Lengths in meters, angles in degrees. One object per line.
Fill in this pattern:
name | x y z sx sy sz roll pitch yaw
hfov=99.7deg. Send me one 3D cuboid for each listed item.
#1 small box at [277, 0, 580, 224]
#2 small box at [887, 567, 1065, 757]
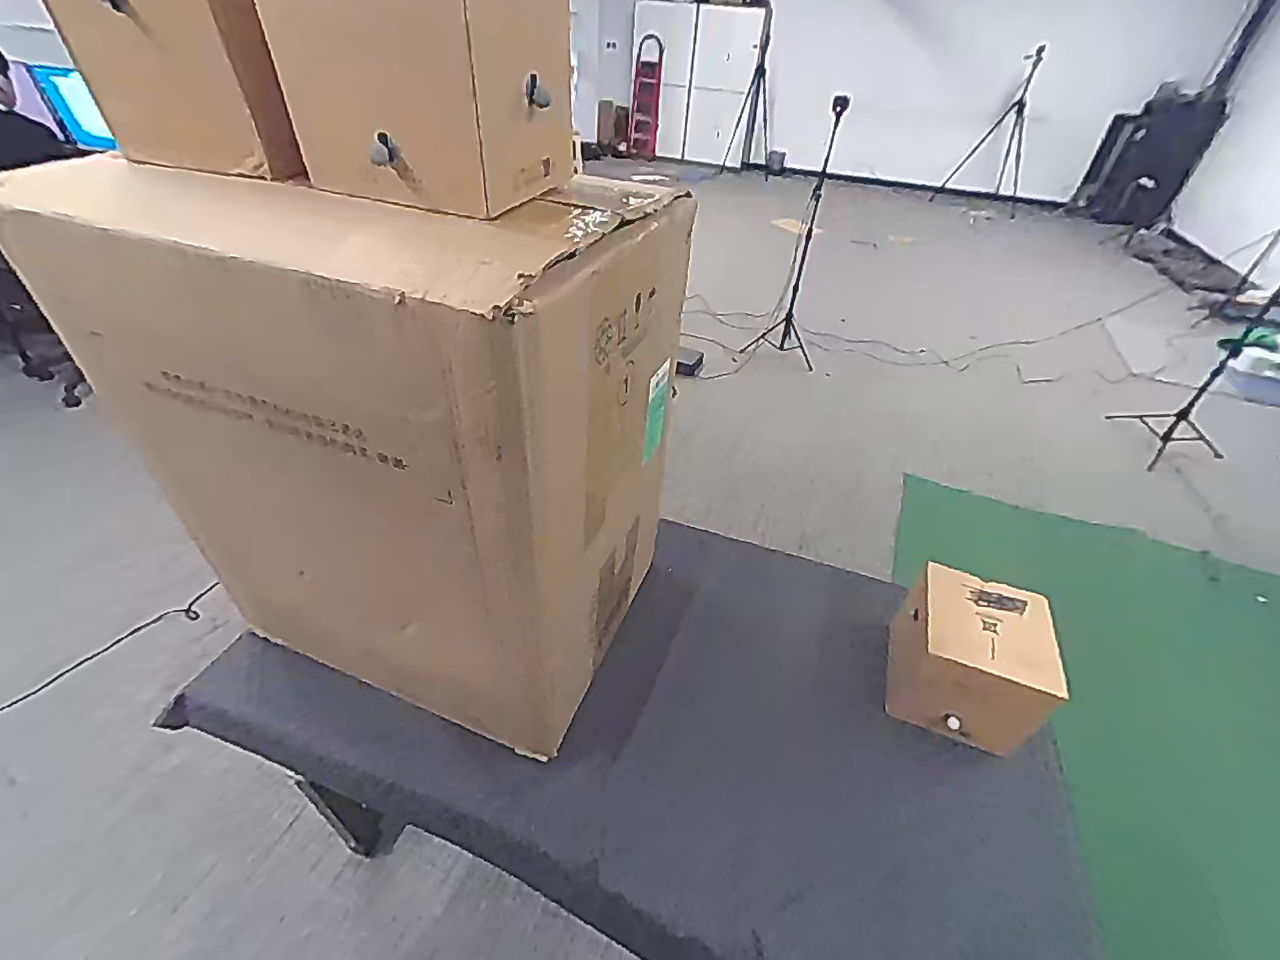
small box | -0.158 -0.334 0.462 0.179 0.176 0.168 16 42 11
small box | 0.482 0.268 0.805 0.168 0.176 0.179 17 41 15
